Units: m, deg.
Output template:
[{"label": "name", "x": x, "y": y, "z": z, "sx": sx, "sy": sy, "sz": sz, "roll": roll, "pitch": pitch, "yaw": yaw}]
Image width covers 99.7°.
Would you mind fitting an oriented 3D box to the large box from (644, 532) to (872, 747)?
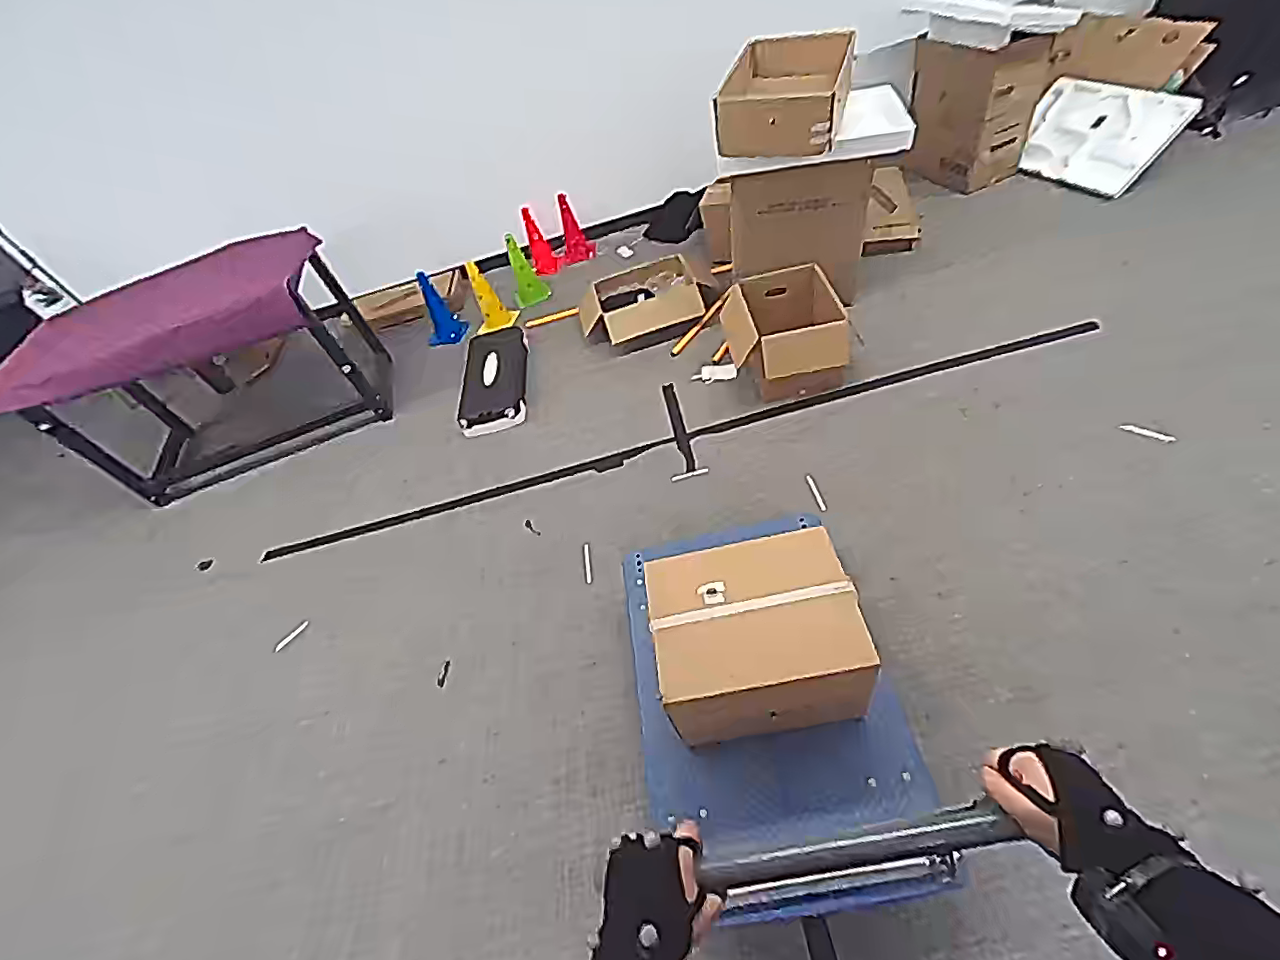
[{"label": "large box", "x": 0.253, "y": 0.366, "z": 1.215, "sx": 0.408, "sy": 0.320, "sz": 0.320, "roll": -14, "pitch": 47, "yaw": 5}]
